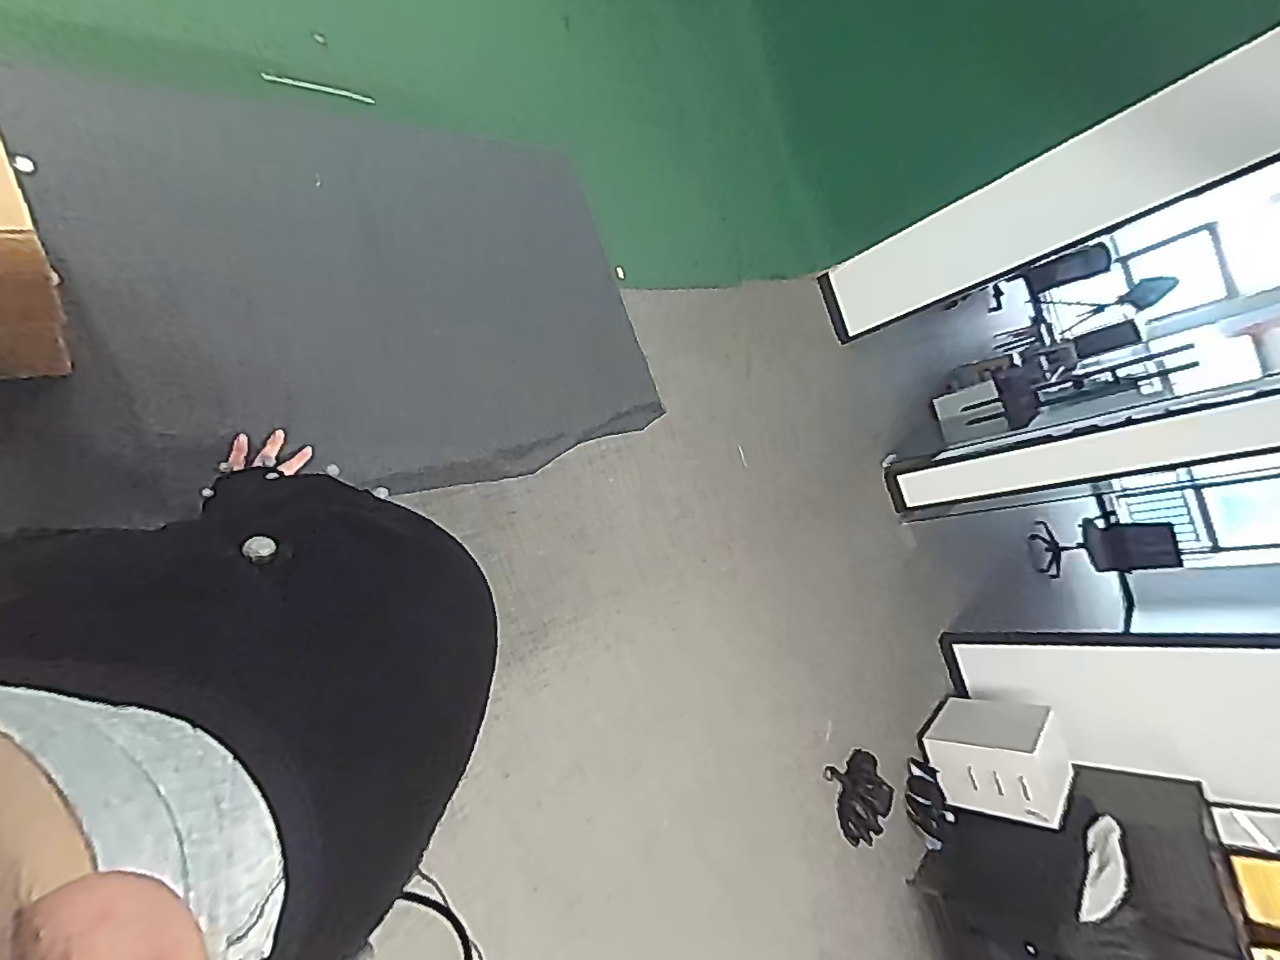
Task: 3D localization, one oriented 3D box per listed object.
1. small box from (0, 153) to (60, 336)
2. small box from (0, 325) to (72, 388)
[{"bbox_3d":[-0.579,-0.212,0.399,0.168,0.176,0.179,-23,92,-44],"label":"small box"},{"bbox_3d":[-0.690,-0.188,0.517,0.168,0.176,0.179,-20,91,-44],"label":"small box"}]
